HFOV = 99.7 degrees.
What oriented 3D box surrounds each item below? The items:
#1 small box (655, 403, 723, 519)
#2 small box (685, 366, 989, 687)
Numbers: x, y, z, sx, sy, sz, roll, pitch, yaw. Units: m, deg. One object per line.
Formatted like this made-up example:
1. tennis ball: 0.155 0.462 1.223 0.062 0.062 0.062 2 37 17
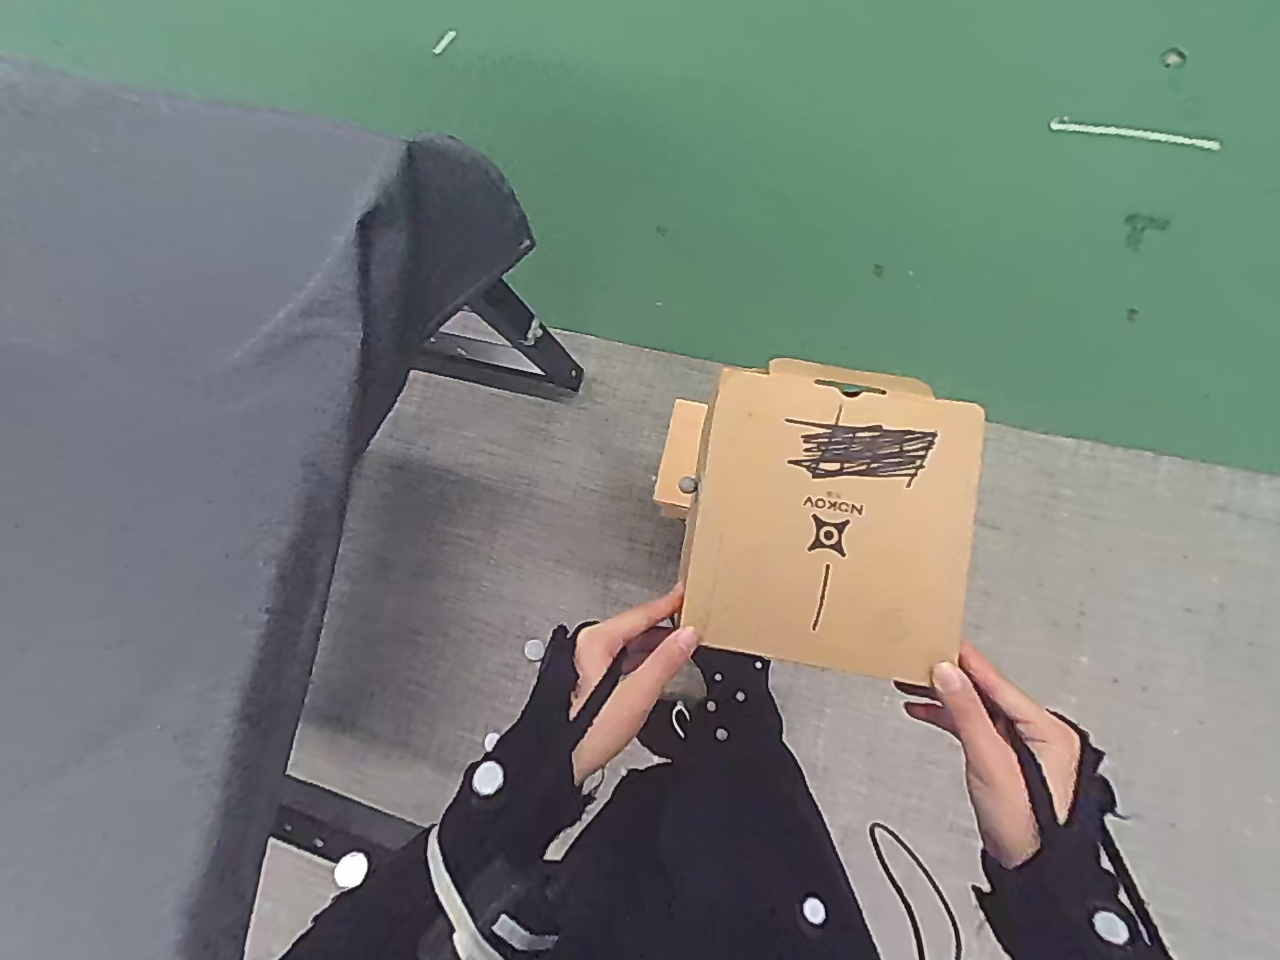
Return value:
1. small box: 0.131 -0.018 0.945 0.168 0.176 0.179 12 85 10
2. small box: 0.128 0.035 0.412 0.168 0.176 0.179 10 83 5
